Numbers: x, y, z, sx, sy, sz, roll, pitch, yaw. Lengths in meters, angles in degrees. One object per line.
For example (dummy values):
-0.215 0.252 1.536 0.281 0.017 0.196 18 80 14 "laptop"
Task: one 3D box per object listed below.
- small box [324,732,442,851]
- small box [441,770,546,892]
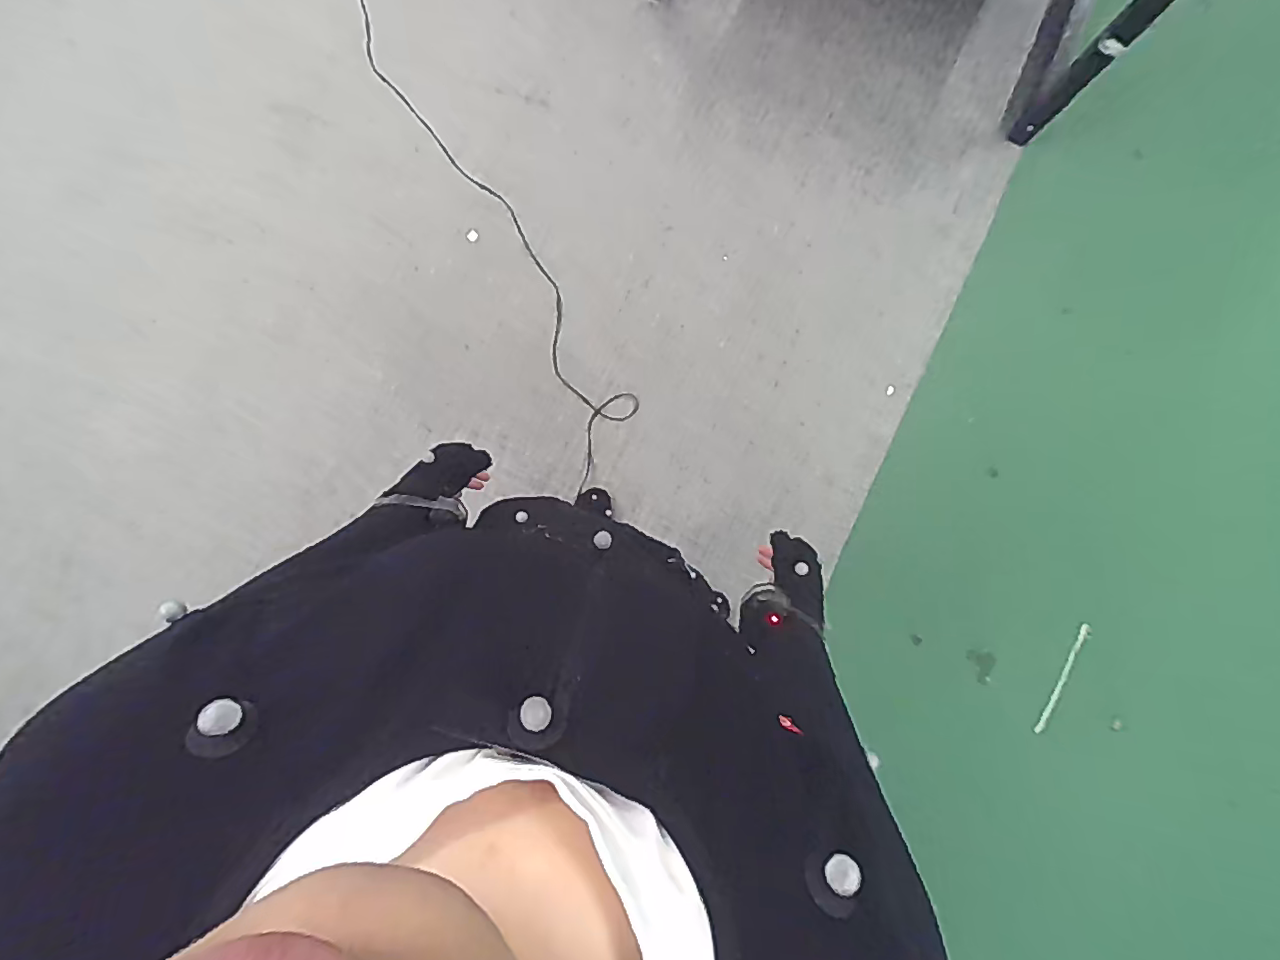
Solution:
-0.611 0.743 1.312 0.179 0.176 0.168 20 87 2 "small box"
-0.344 0.833 1.304 0.179 0.176 0.168 16 88 3 "small box"
